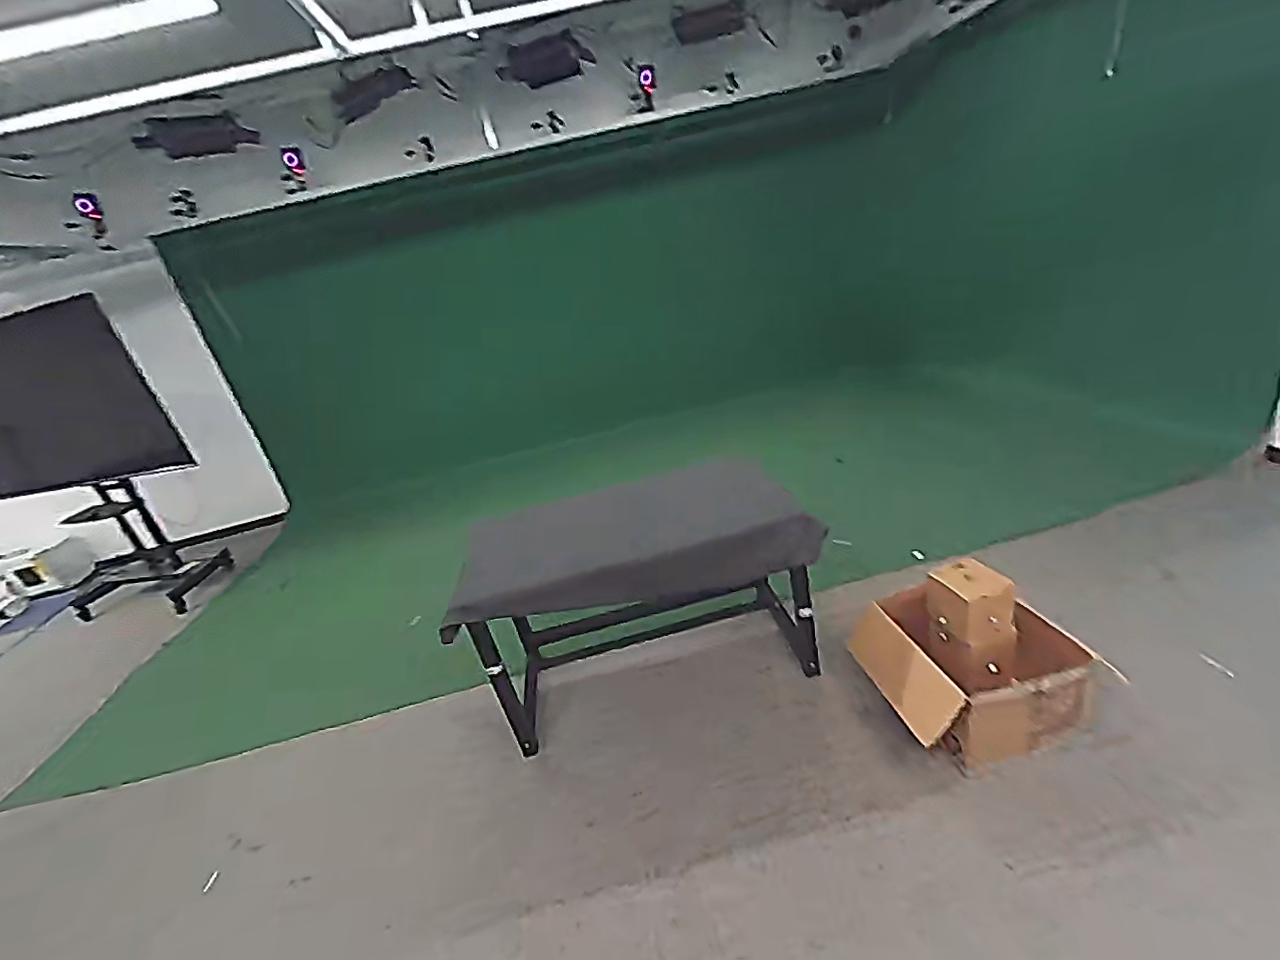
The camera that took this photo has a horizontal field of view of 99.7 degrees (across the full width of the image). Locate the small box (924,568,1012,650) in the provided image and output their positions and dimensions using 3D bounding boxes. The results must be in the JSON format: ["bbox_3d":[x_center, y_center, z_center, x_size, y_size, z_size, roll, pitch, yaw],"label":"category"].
[{"bbox_3d":[1.025,0.410,1.697,0.168,0.176,0.179,-17,23,-10],"label":"small box"}]
